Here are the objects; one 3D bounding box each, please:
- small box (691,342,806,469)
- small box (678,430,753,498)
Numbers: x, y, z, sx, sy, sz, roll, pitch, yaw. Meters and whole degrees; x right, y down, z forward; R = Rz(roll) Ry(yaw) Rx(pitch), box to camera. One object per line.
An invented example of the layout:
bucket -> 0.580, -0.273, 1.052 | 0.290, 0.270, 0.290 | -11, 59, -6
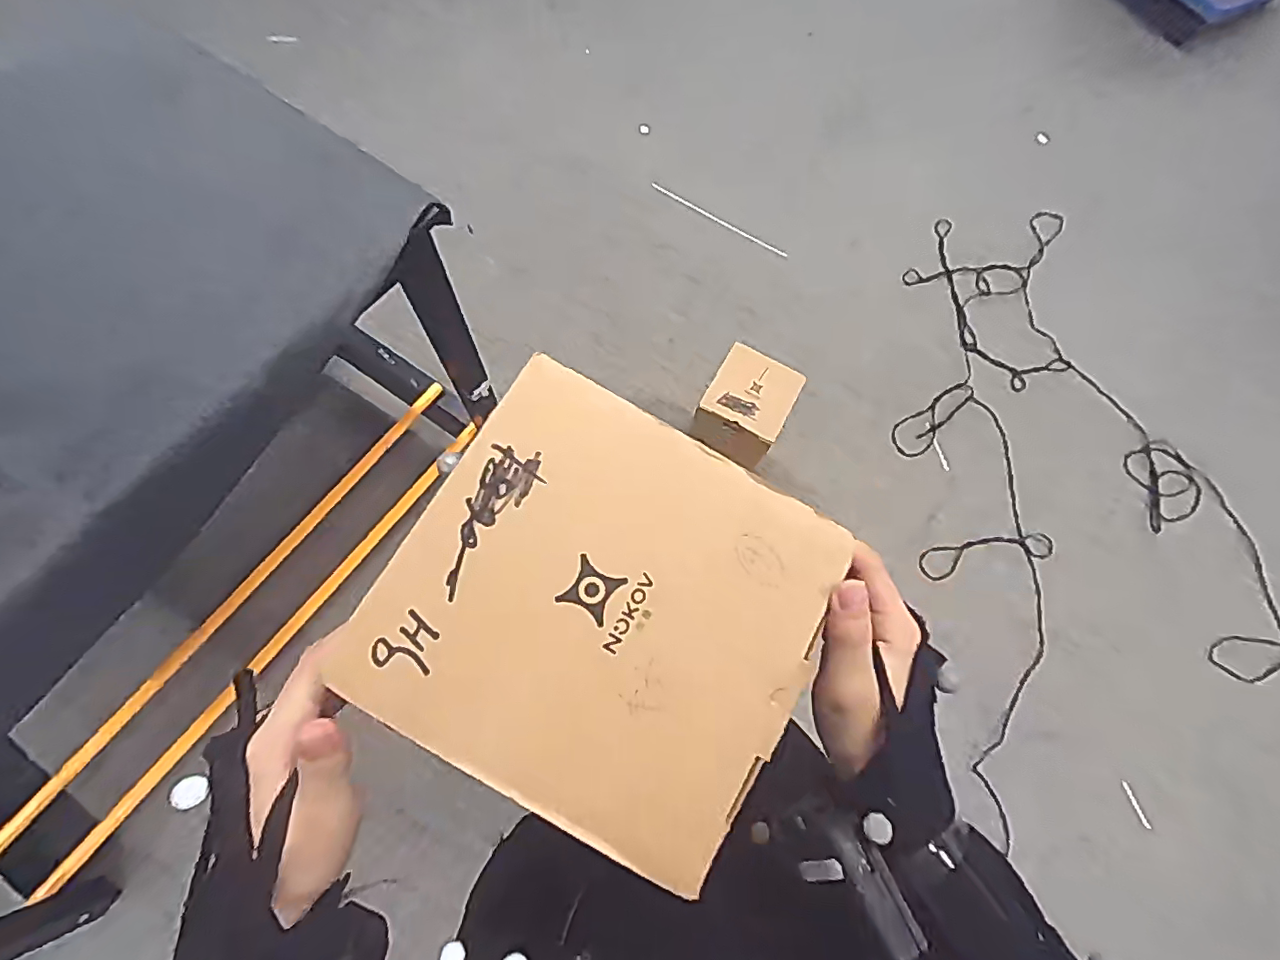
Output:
small box -> 0.220, -0.150, 1.147 | 0.168, 0.176, 0.179 | 29, 70, 6
small box -> 0.202, -0.085, 1.297 | 0.168, 0.176, 0.179 | 28, 71, 7
